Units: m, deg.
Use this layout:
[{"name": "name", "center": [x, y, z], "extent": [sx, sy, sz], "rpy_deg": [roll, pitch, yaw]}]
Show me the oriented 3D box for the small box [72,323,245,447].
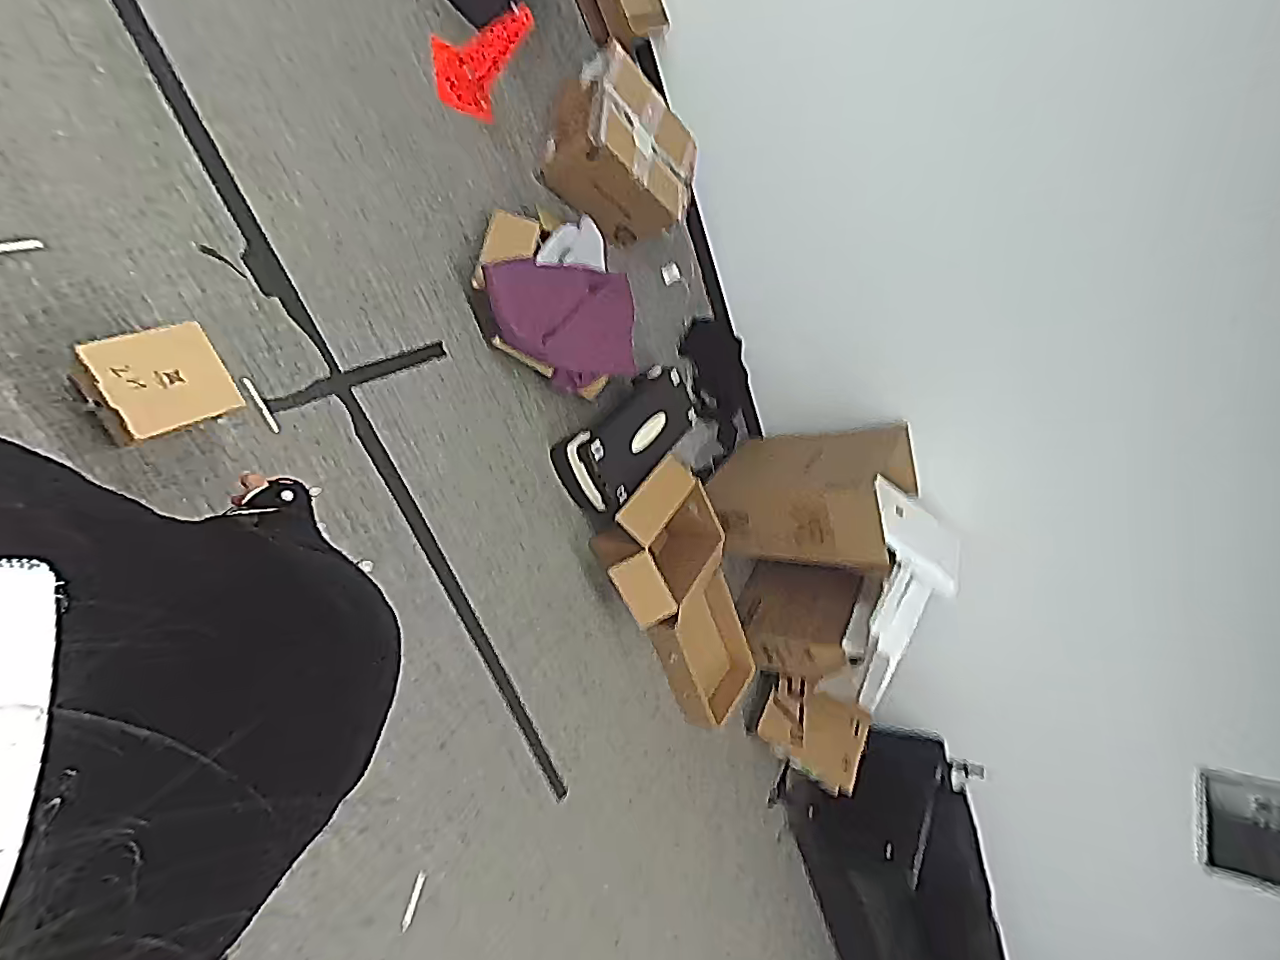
[{"name": "small box", "center": [-0.879, -0.171, 0.988], "extent": [0.179, 0.176, 0.168], "rpy_deg": [-37, 114, -43]}]
